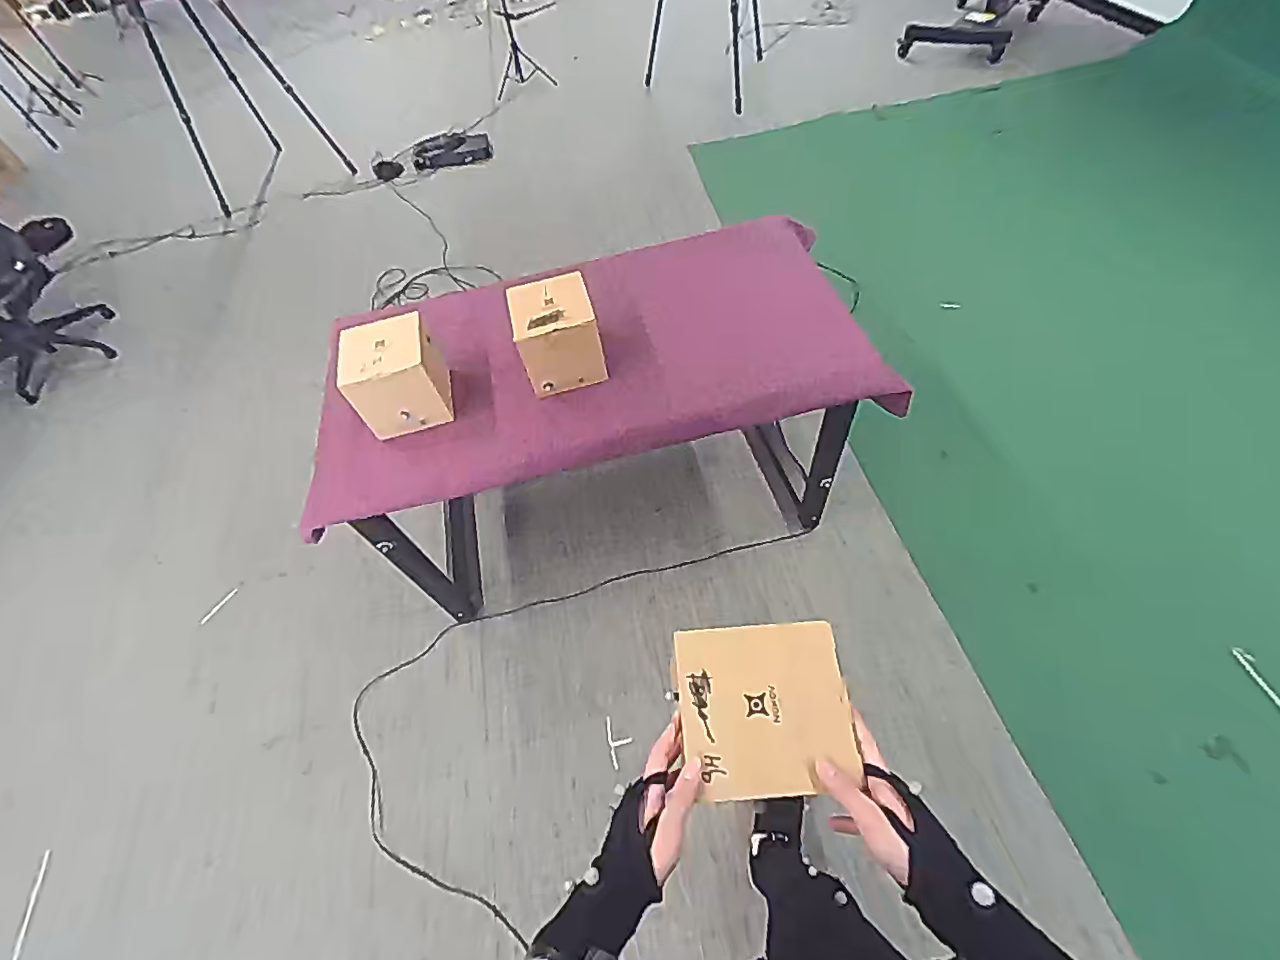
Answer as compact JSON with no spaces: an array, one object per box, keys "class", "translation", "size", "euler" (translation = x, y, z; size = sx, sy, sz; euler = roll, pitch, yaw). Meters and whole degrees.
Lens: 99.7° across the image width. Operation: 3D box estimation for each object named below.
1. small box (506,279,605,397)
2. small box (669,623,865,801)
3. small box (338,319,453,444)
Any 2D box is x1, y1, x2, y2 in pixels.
[{"class":"small box","translation":[-0.179,-0.299,1.175],"size":[0.168,0.176,0.179],"euler":[-15,54,-3]},{"class":"small box","translation":[0.128,0.270,0.624],"size":[0.179,0.176,0.168],"euler":[-3,60,0]},{"class":"small box","translation":[-0.513,-0.207,1.152],"size":[0.168,0.176,0.179],"euler":[-16,55,-4]}]
